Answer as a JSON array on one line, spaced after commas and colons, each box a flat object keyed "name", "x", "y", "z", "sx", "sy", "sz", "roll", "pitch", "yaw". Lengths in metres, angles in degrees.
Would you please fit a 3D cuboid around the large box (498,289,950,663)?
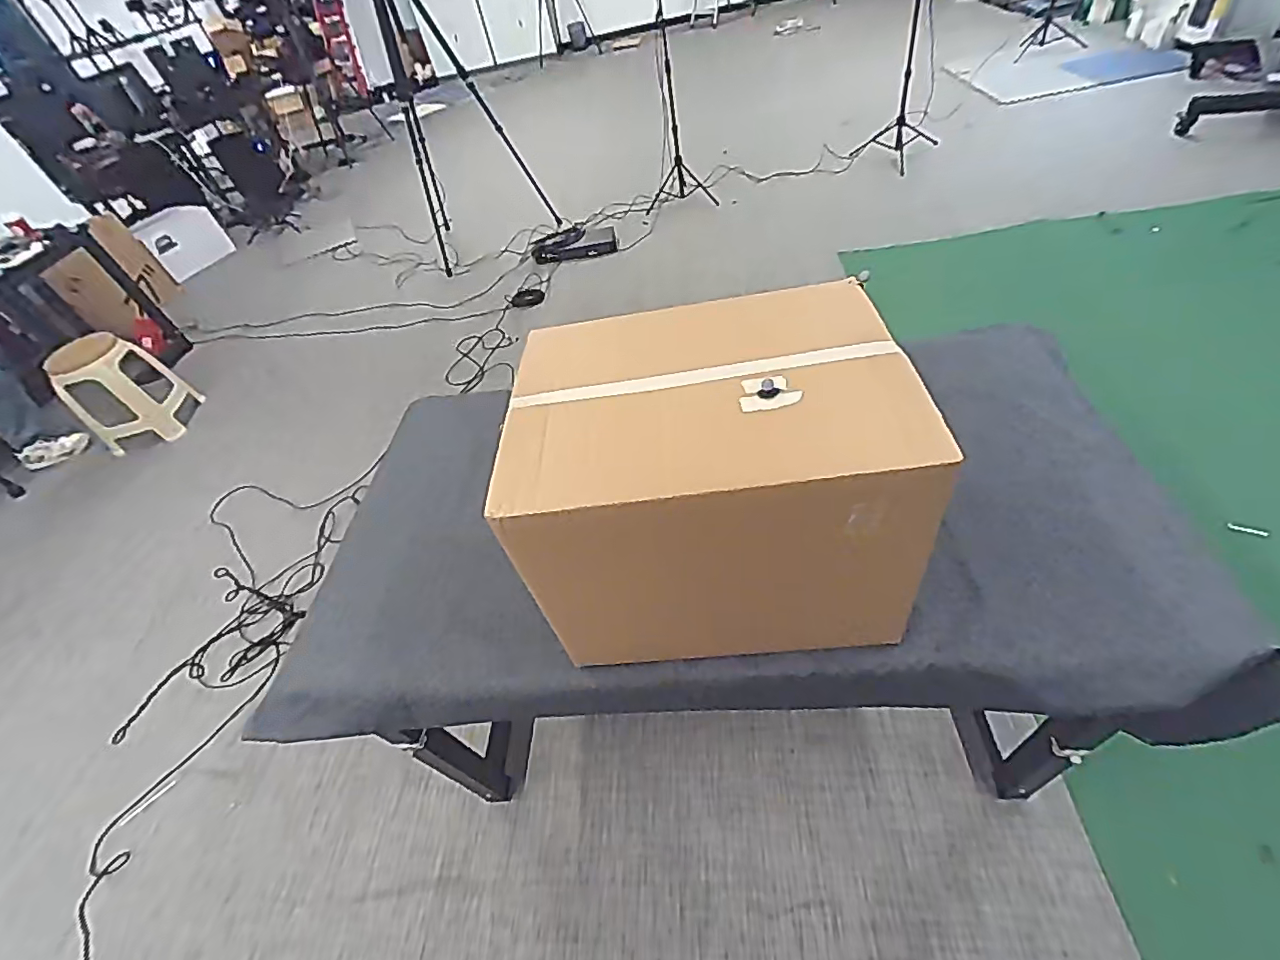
[{"name": "large box", "x": 0.086, "y": 0.003, "z": 0.676, "sx": 0.408, "sy": 0.320, "sz": 0.320, "roll": -7, "pitch": 46, "yaw": 7}]
